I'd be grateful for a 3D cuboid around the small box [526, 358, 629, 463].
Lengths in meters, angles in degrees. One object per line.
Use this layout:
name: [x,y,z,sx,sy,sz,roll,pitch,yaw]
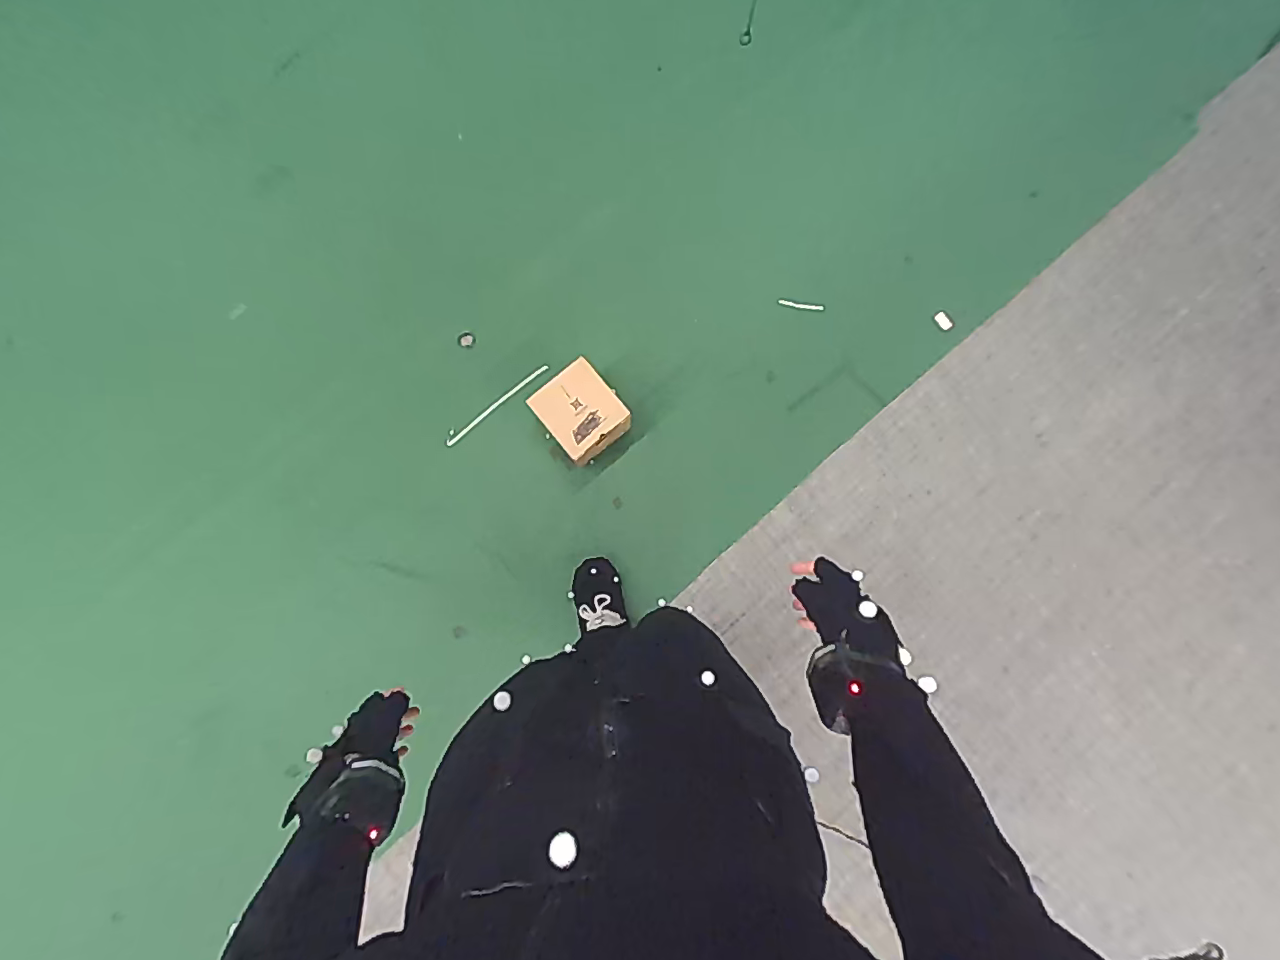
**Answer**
small box: [-0.140,-0.153,1.277,0.168,0.176,0.179,-40,87,-5]
